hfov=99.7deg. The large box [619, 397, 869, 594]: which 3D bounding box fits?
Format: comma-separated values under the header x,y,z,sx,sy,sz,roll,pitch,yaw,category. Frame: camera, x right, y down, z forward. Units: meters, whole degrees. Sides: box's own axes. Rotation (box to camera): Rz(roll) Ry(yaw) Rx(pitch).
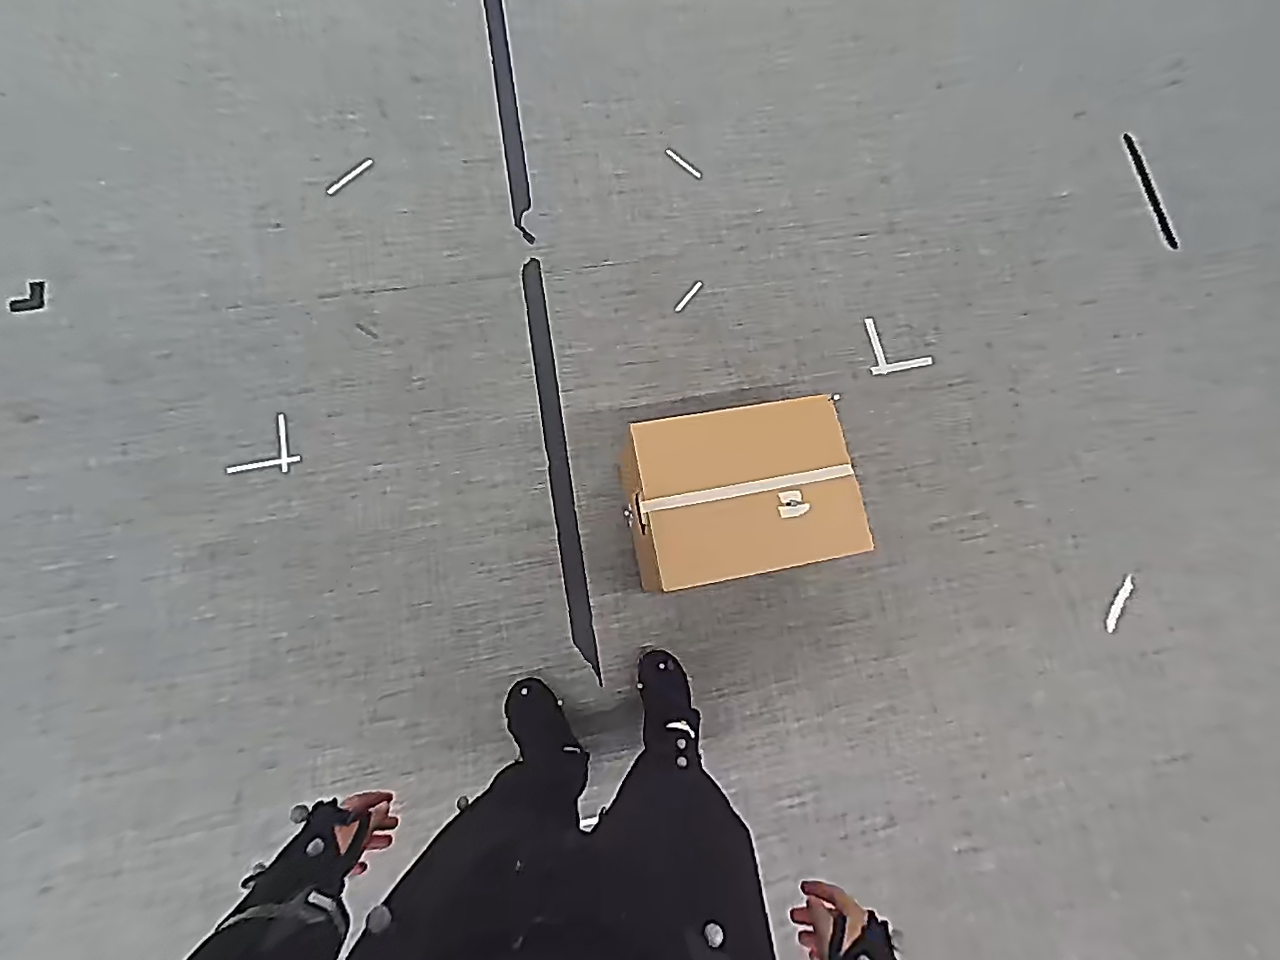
x,y,z,sx,sy,sz,roll,pitch,yaw,category
0.188,0.049,1.145,0.408,0.320,0.320,-9,80,-9,large box
